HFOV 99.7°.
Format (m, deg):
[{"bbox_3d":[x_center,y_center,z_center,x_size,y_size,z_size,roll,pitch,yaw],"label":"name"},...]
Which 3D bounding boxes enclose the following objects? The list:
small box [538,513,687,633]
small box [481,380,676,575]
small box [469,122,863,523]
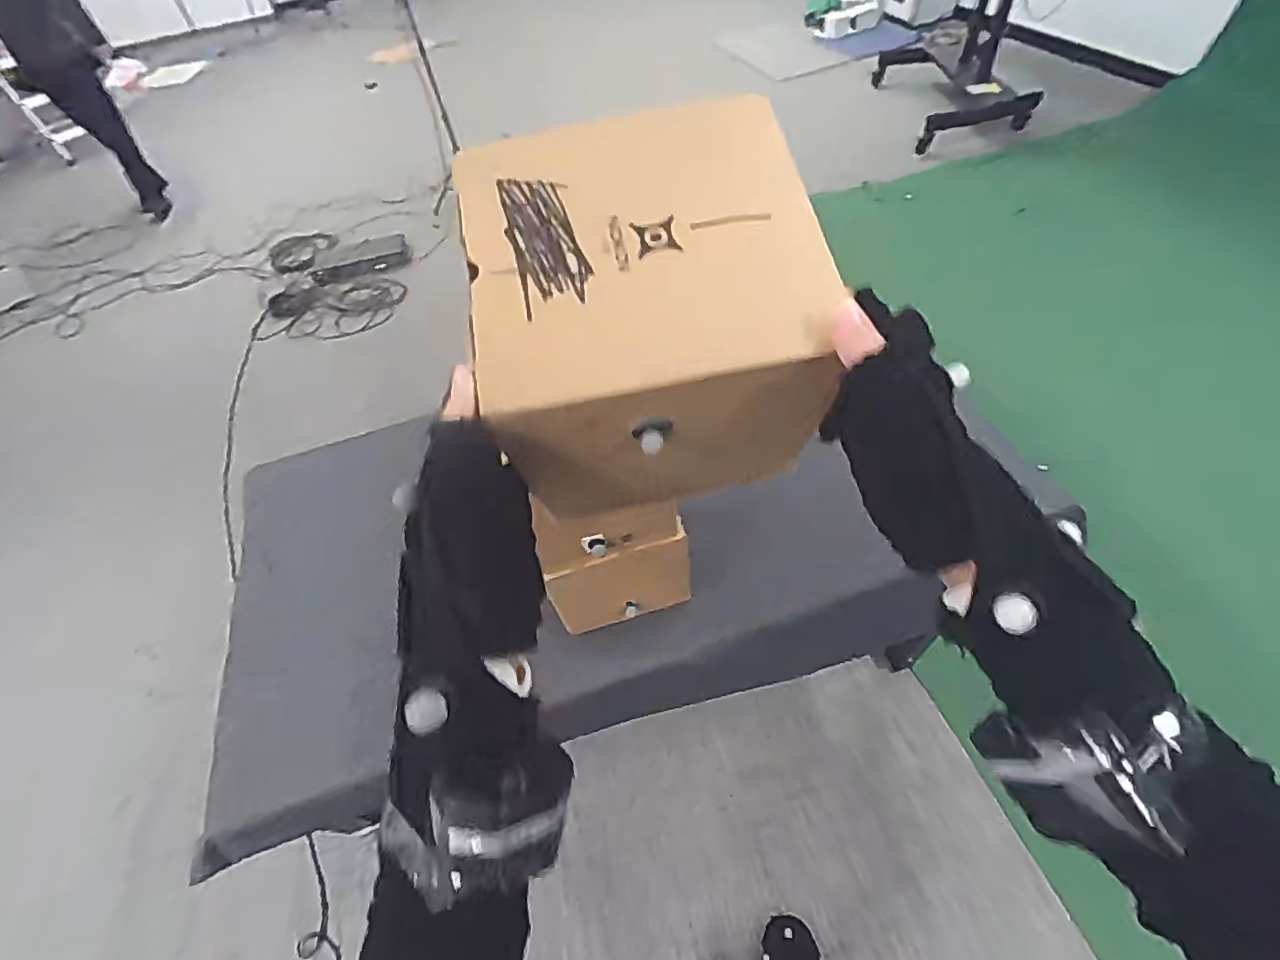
[{"bbox_3d":[-0.043,0.084,0.737,0.179,0.176,0.168,-16,52,-6],"label":"small box"},{"bbox_3d":[-0.065,-0.022,0.615,0.168,0.176,0.179,-18,53,-5],"label":"small box"},{"bbox_3d":[0.008,-0.081,0.345,0.179,0.176,0.168,-10,70,-2],"label":"small box"}]
